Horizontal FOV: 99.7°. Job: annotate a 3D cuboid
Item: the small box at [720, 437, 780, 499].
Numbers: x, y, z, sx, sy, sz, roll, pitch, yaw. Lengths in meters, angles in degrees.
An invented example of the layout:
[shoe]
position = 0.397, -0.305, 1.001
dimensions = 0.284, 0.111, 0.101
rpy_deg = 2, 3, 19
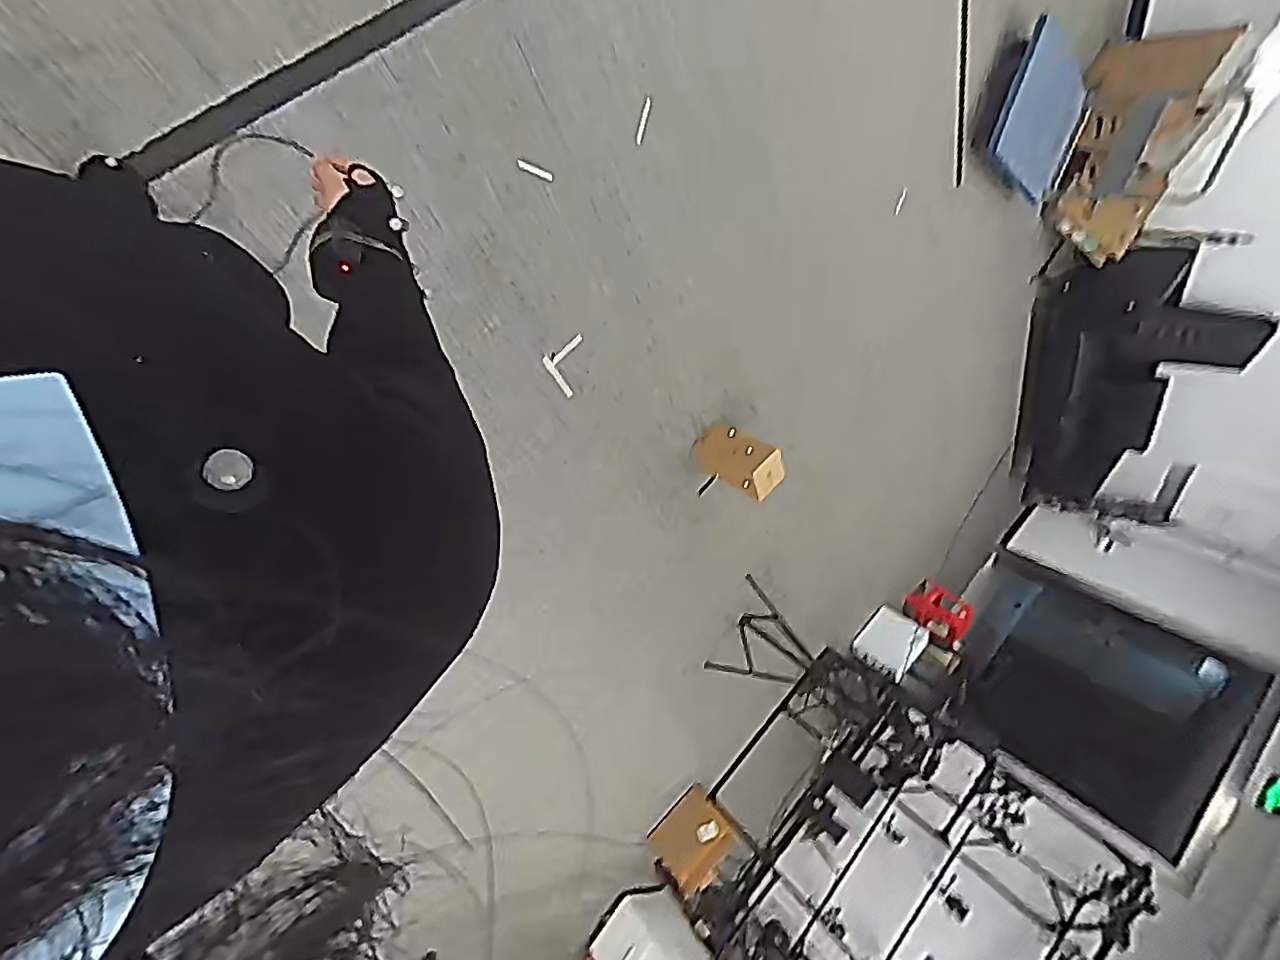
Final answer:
[small box]
position = 0.449, -0.059, 2.220
dimensions = 0.168, 0.176, 0.179
rpy_deg = -42, 136, -17
